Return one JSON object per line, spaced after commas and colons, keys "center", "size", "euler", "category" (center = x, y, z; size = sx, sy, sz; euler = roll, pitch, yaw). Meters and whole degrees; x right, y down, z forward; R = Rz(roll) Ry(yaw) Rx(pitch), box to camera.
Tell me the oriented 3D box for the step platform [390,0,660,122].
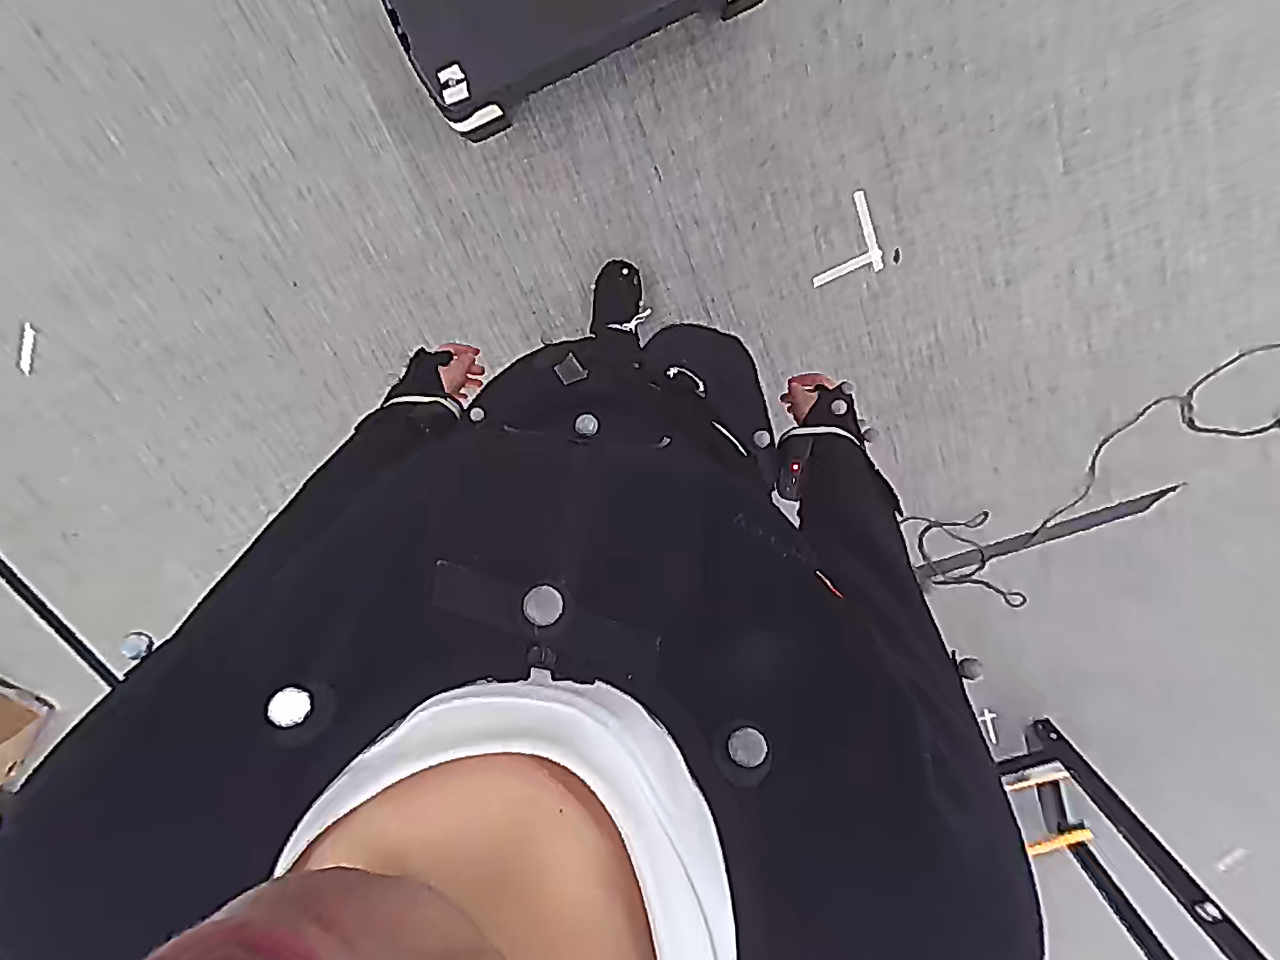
{"center": [-0.103, -0.927, 0.941], "size": [0.684, 0.204, 0.286], "euler": [-21, 110, 8], "category": "step platform"}
